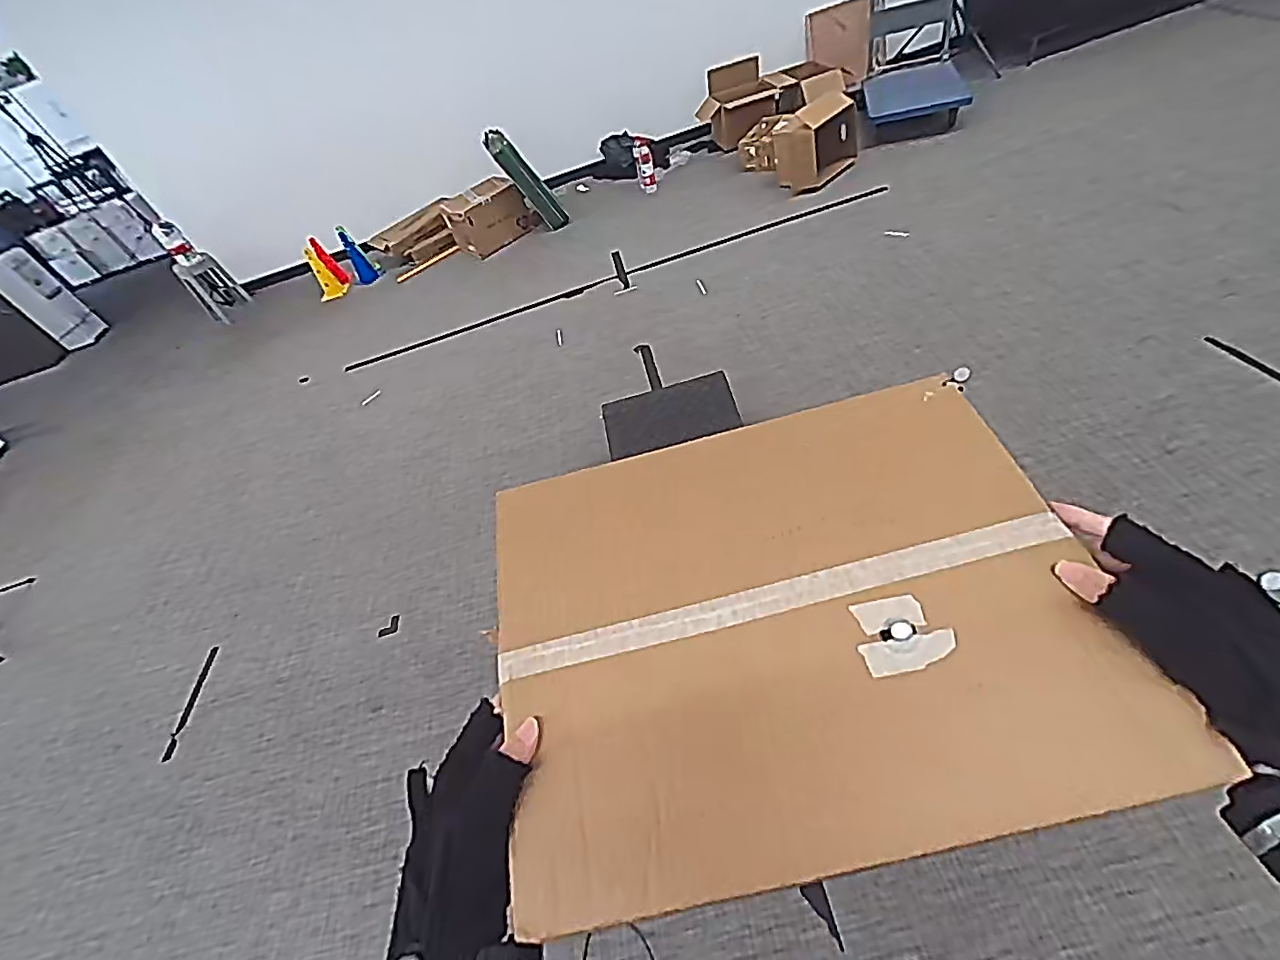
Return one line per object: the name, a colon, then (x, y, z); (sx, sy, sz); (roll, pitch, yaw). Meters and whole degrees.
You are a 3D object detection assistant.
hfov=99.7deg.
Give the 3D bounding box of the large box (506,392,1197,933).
large box: (0.124, 0.176, 0.518); (0.408, 0.320, 0.320); (-15, 55, 2)
